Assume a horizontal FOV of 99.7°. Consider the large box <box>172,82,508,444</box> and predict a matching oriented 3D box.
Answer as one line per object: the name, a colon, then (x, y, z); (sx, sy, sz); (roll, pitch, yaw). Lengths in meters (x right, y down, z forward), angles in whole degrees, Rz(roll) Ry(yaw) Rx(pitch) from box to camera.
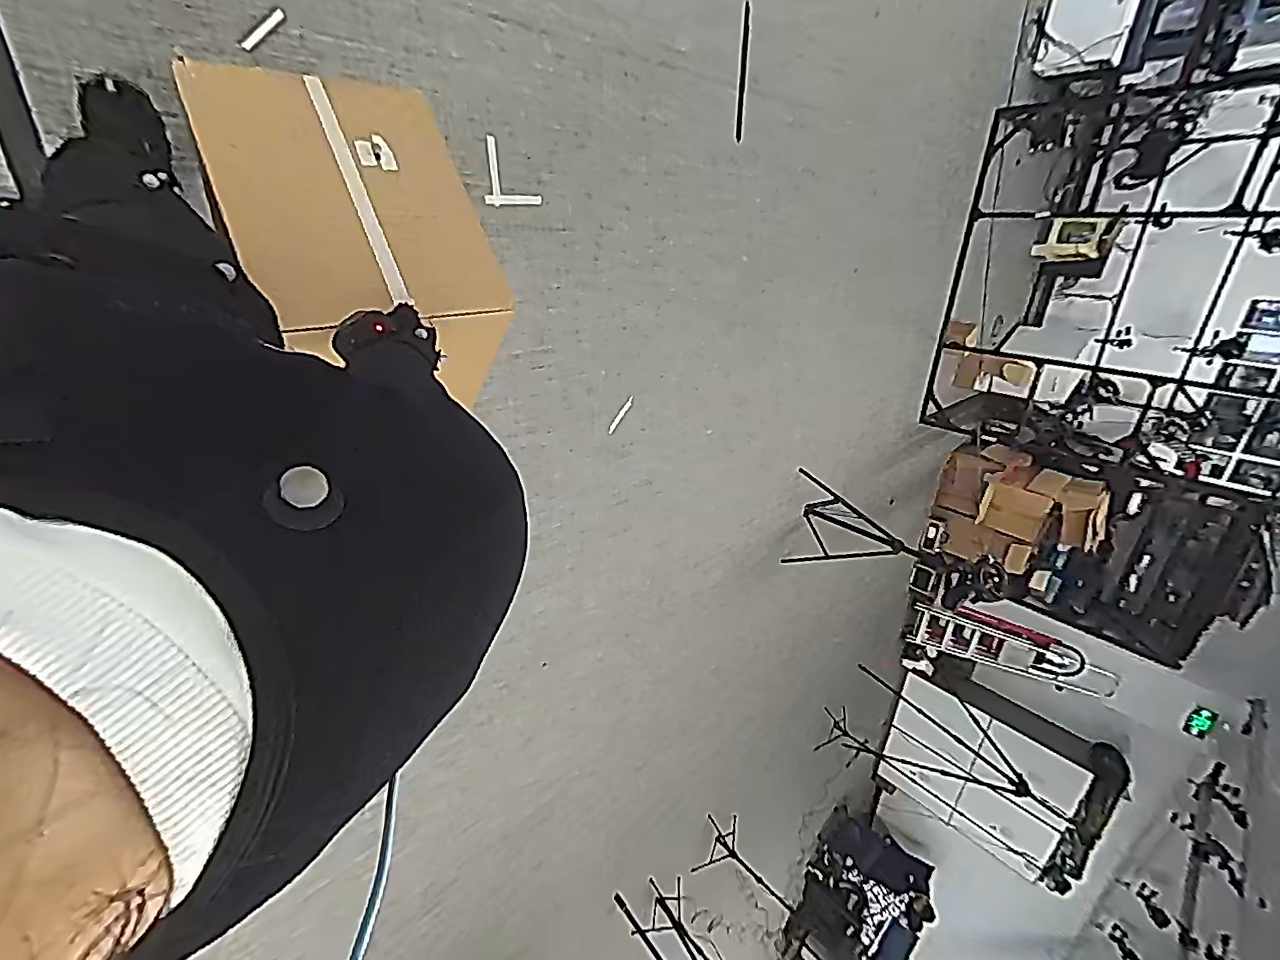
large box: (-0.463, -0.325, 0.867); (0.320, 0.408, 0.320); (-19, 167, -35)
